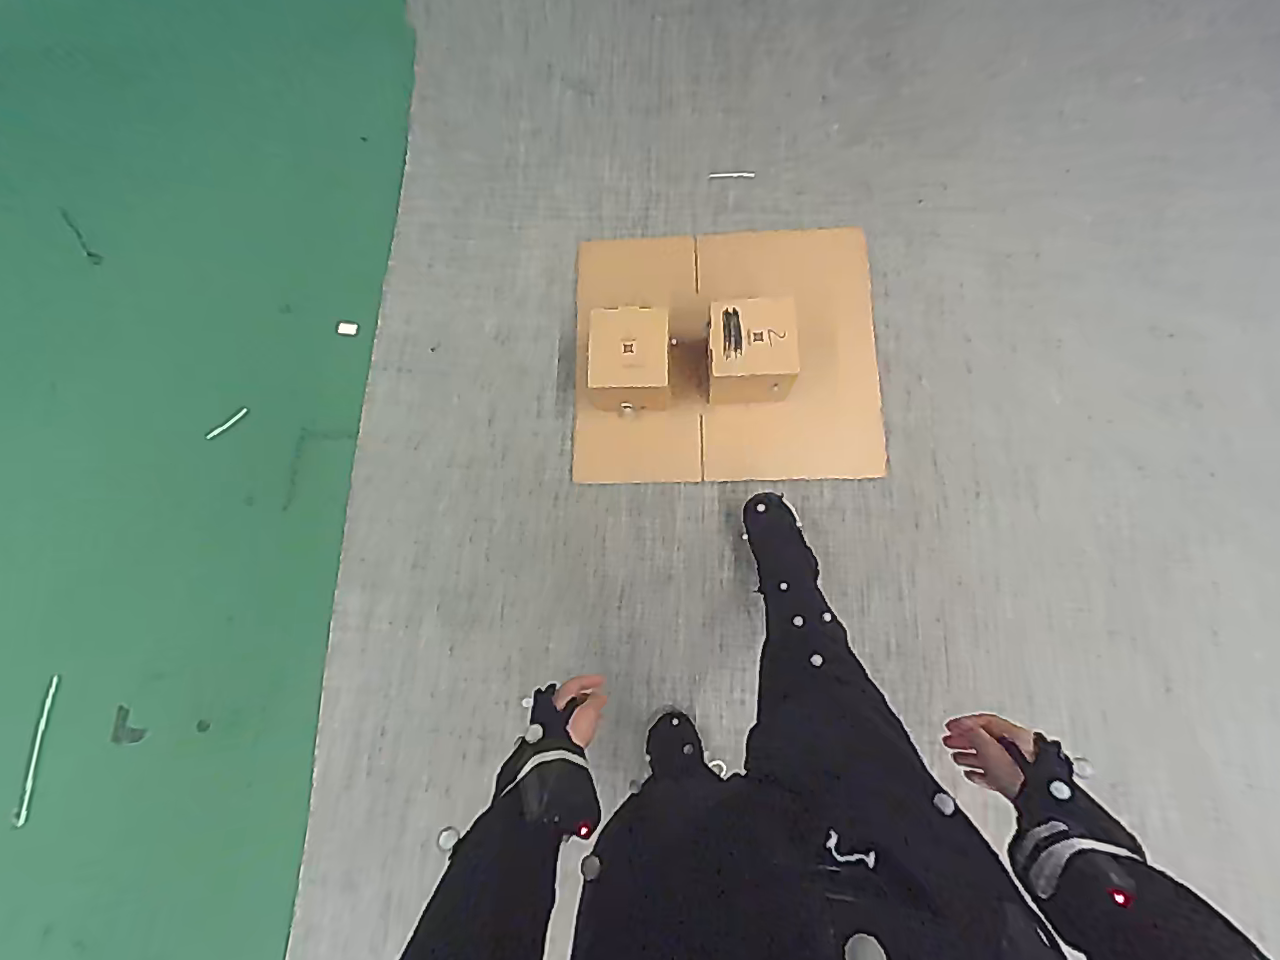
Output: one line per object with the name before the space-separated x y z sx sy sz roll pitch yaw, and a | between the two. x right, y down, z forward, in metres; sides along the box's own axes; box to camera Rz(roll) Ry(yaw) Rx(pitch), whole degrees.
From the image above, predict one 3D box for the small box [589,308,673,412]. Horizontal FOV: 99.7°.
small box | -0.014 -0.256 1.182 0.168 0.176 0.179 0 80 5
